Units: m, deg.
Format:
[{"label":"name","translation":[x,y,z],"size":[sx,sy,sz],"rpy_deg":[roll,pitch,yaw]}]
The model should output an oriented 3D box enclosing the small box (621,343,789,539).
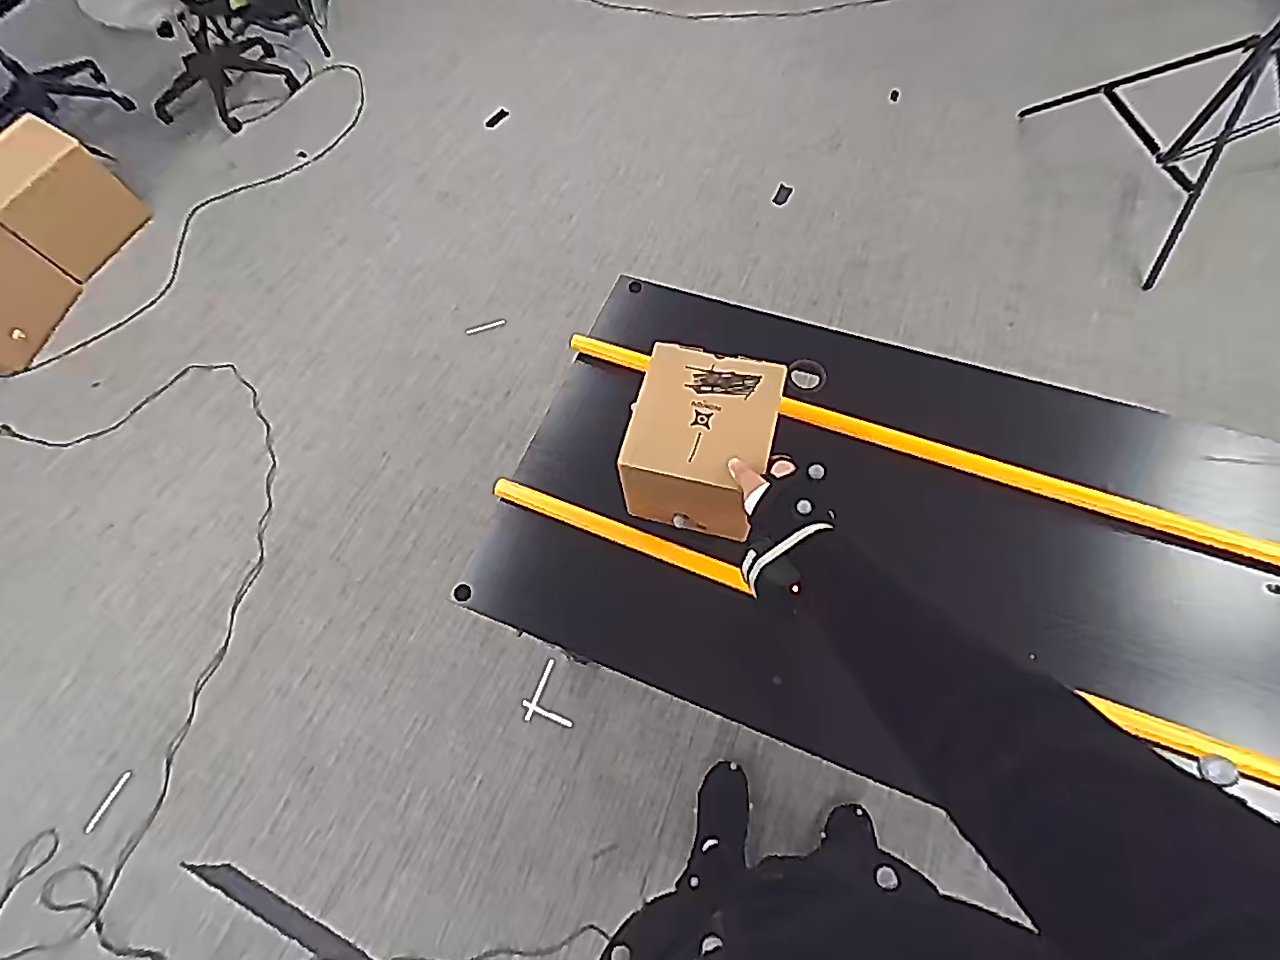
[{"label":"small box","translation":[0.083,-0.044,0.703],"size":[0.168,0.176,0.179],"rpy_deg":[13,68,10]}]
